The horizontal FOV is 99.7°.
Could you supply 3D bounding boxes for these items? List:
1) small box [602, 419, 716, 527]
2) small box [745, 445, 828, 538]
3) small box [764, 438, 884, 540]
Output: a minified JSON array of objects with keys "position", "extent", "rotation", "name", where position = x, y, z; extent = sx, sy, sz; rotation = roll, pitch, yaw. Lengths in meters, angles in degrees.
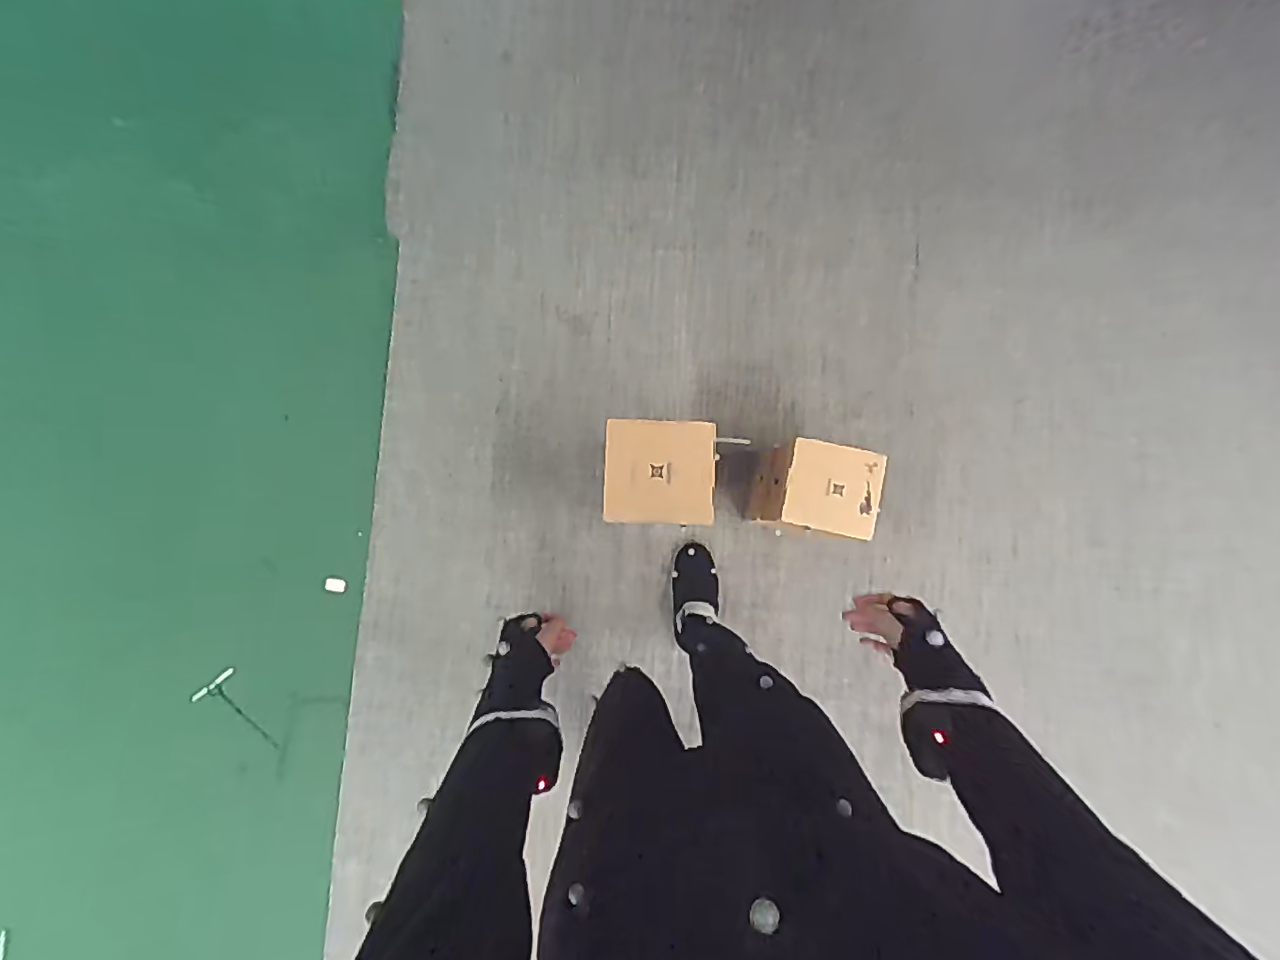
[{"position":[0.033,-0.006,0.934],"extent":[0.179,0.176,0.168],"rotation":[2,85,3],"name":"small box"},{"position":[0.349,0.030,1.254],"extent":[0.168,0.176,0.179],"rotation":[12,86,3],"name":"small box"},{"position":[0.359,0.023,1.089],"extent":[0.179,0.176,0.168],"rotation":[12,86,3],"name":"small box"}]
